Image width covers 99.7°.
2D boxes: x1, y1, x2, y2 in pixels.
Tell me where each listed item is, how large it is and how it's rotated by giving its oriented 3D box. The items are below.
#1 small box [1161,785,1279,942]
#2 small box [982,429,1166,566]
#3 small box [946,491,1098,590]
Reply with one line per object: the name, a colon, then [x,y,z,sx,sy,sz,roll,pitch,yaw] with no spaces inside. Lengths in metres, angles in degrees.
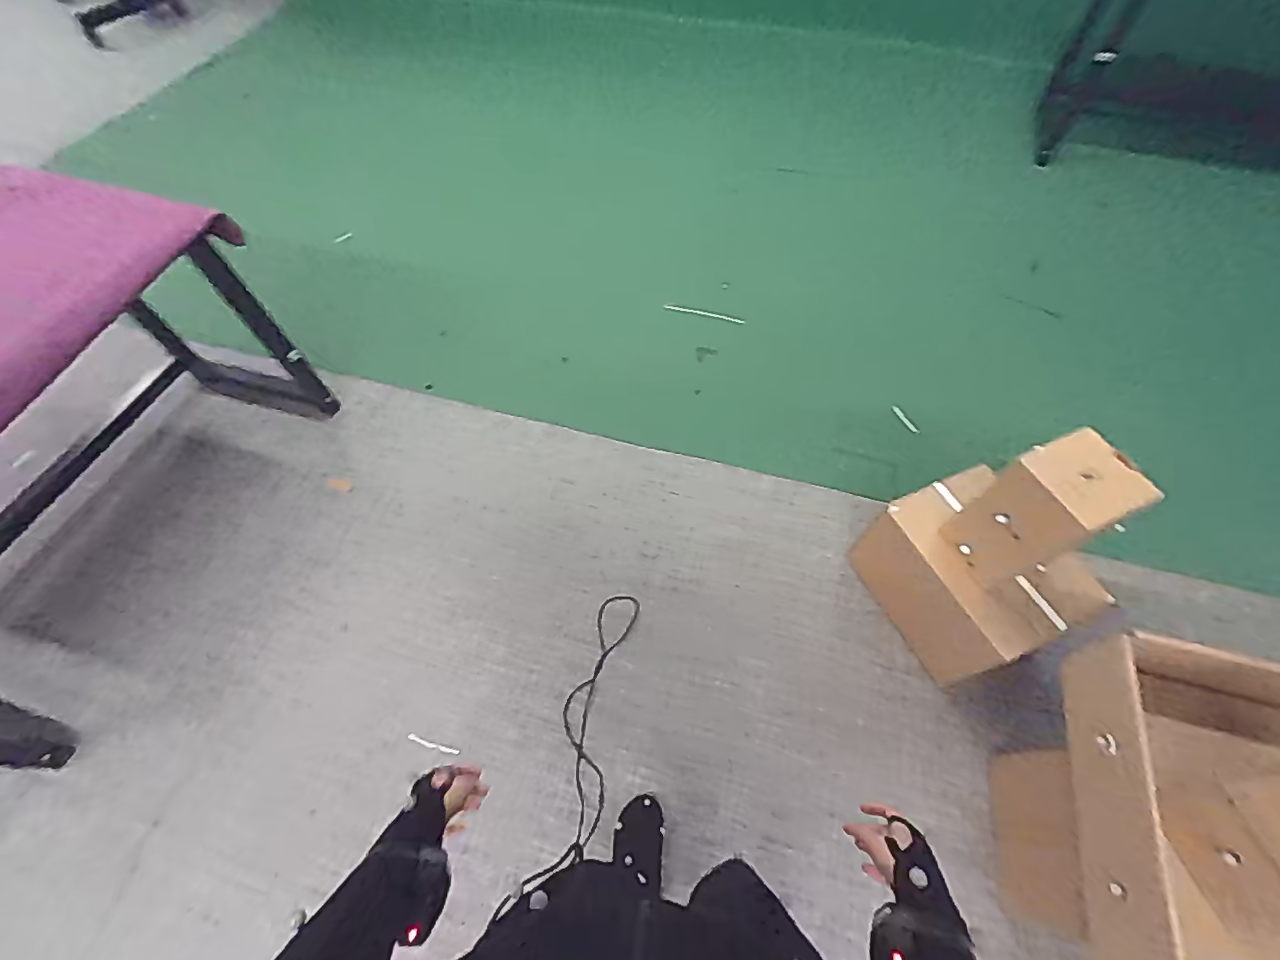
small box: [0.938,0.547,0.783,0.168,0.176,0.179,-13,59,-5]
small box: [0.805,0.037,1.026,0.179,0.176,0.168,-20,60,-11]
small box: [0.812,0.115,1.168,0.179,0.176,0.168,-18,60,-9]
